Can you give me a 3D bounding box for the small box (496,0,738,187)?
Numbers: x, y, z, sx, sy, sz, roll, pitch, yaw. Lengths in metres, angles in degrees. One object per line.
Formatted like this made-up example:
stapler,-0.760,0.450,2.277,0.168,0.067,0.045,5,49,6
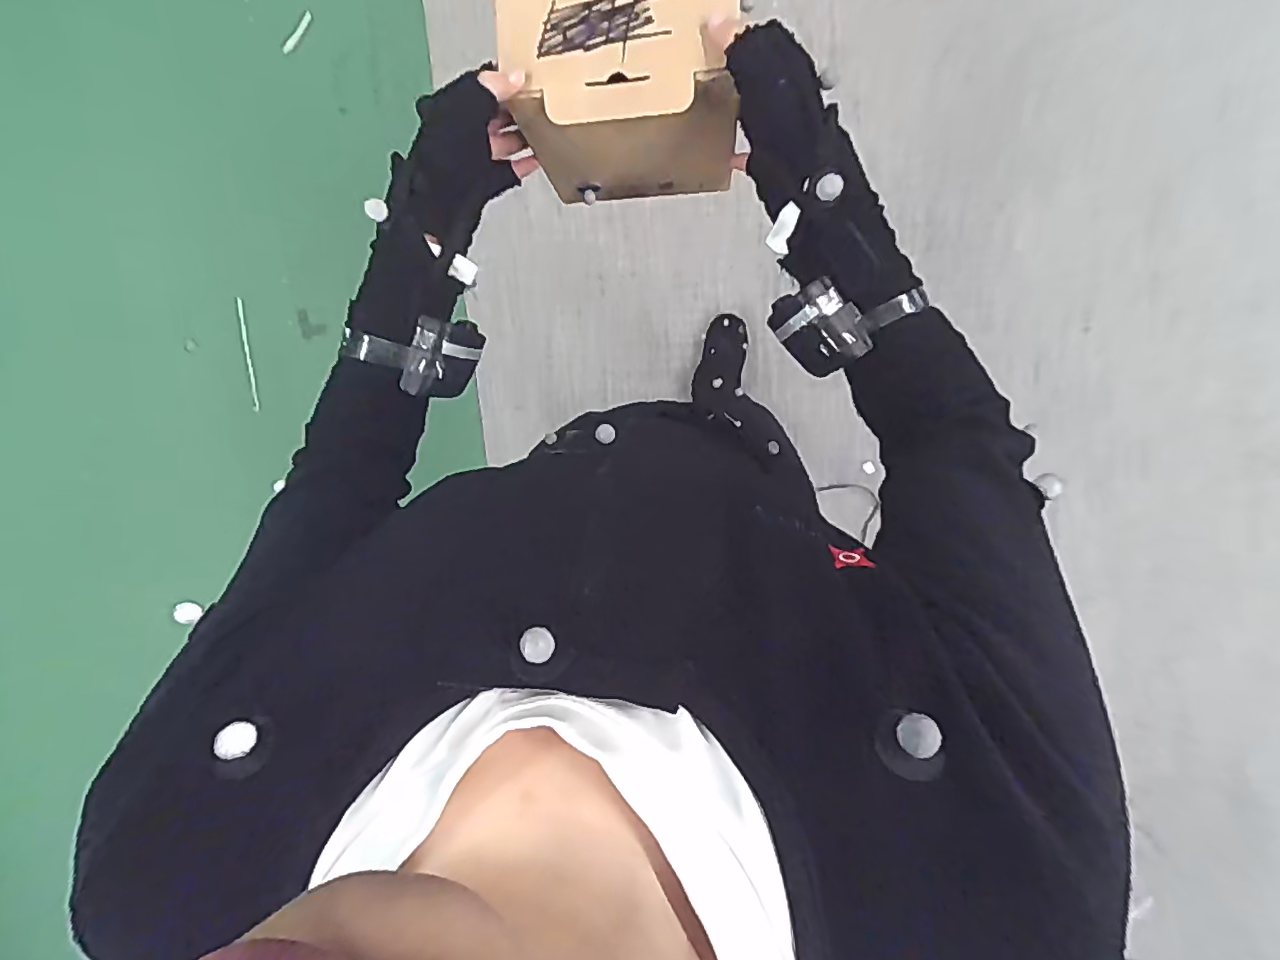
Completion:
small box,-0.007,-0.359,0.434,0.168,0.176,0.179,-1,92,7
